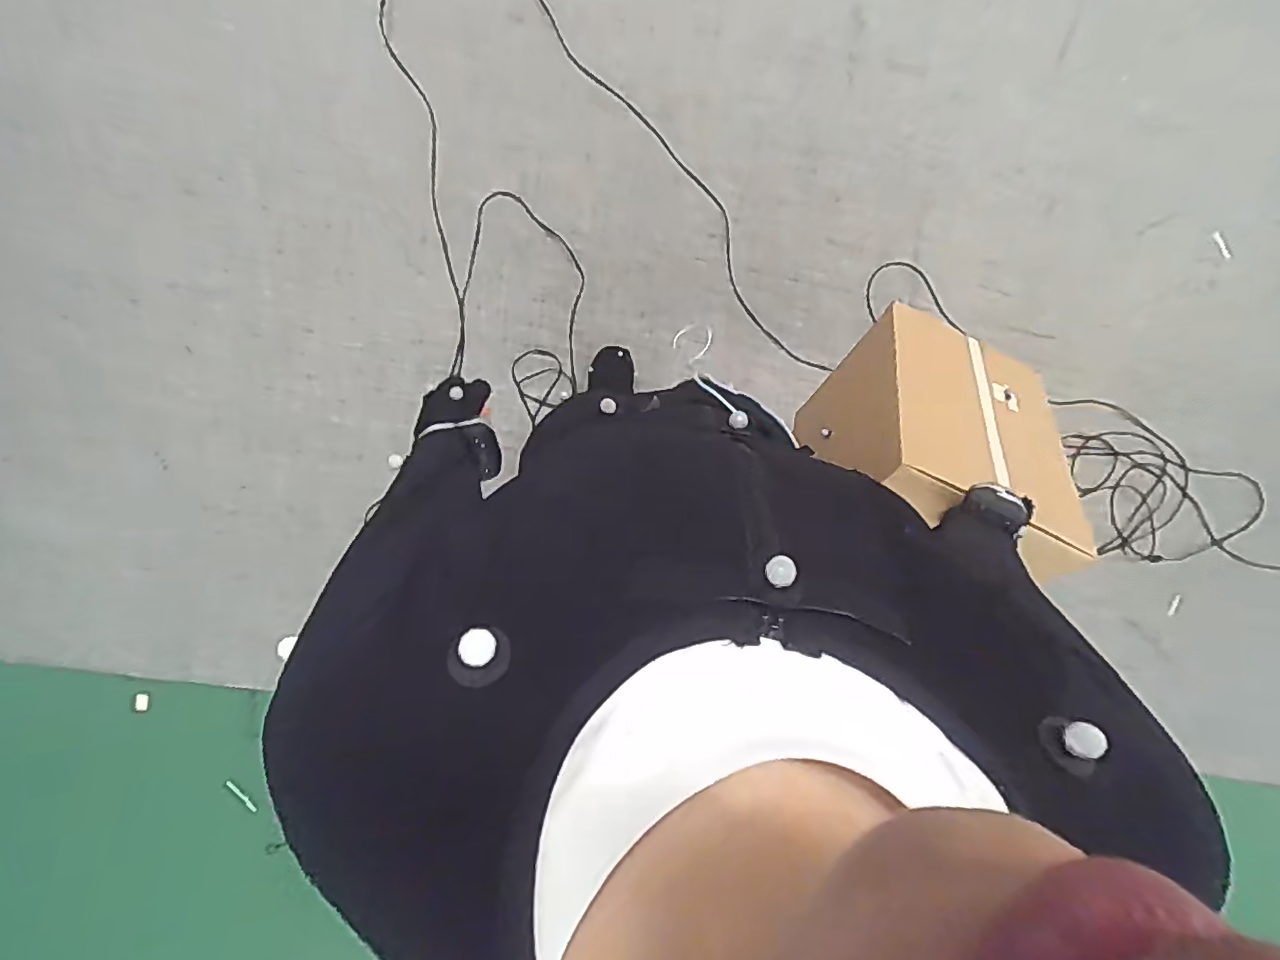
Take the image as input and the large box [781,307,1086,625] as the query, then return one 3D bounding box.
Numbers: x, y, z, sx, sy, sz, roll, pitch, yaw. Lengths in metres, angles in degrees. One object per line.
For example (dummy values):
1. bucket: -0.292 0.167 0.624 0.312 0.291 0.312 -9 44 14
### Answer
1. large box: 0.474 -0.019 0.962 0.320 0.408 0.320 25 140 -6
